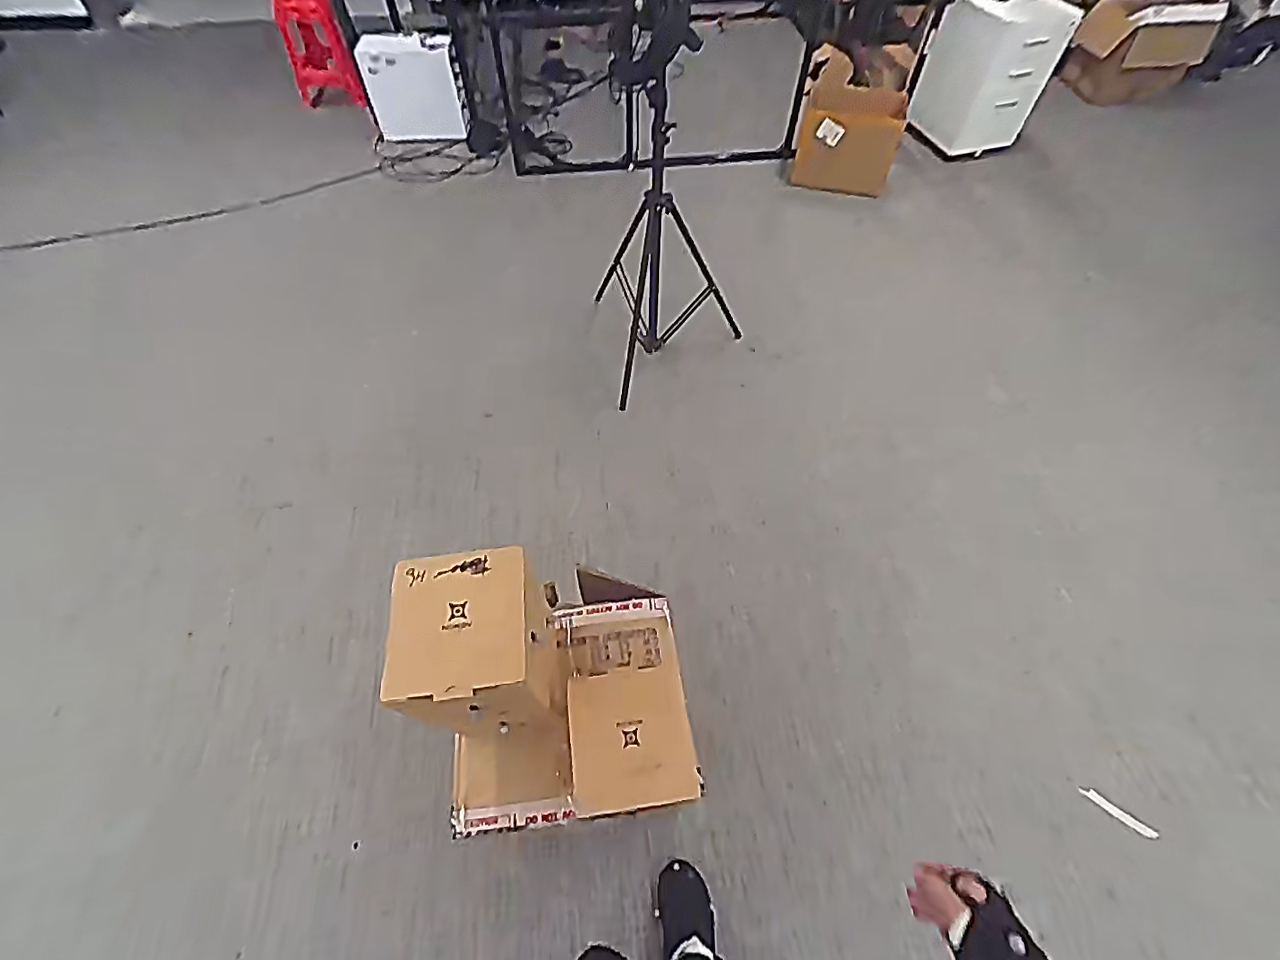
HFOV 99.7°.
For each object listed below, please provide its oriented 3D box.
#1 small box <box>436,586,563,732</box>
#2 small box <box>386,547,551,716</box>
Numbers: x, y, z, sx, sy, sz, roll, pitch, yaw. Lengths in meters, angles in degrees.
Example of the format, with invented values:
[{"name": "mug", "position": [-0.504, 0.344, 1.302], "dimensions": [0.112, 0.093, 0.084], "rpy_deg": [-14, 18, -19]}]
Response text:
[{"name": "small box", "position": [-0.220, 0.289, 0.868], "dimensions": [0.168, 0.176, 0.179], "rpy_deg": [-8, 59, -3]}, {"name": "small box", "position": [-0.216, 0.210, 0.724], "dimensions": [0.168, 0.176, 0.179], "rpy_deg": [-7, 59, -3]}]
